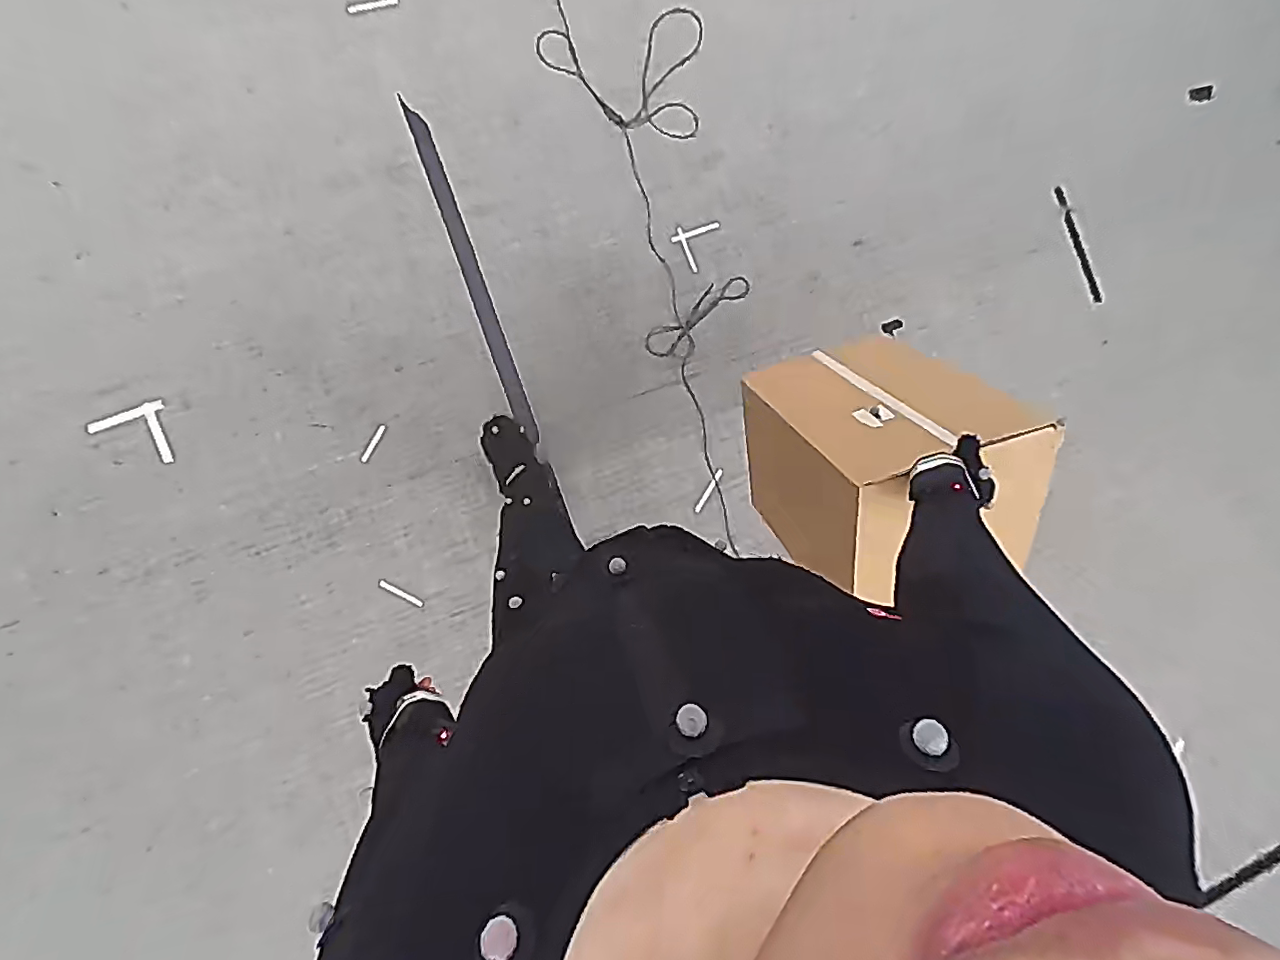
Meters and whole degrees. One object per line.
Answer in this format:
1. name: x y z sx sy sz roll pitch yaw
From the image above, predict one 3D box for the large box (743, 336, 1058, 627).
1. large box: 0.416 -0.018 0.986 0.320 0.408 0.320 -18 127 -6
